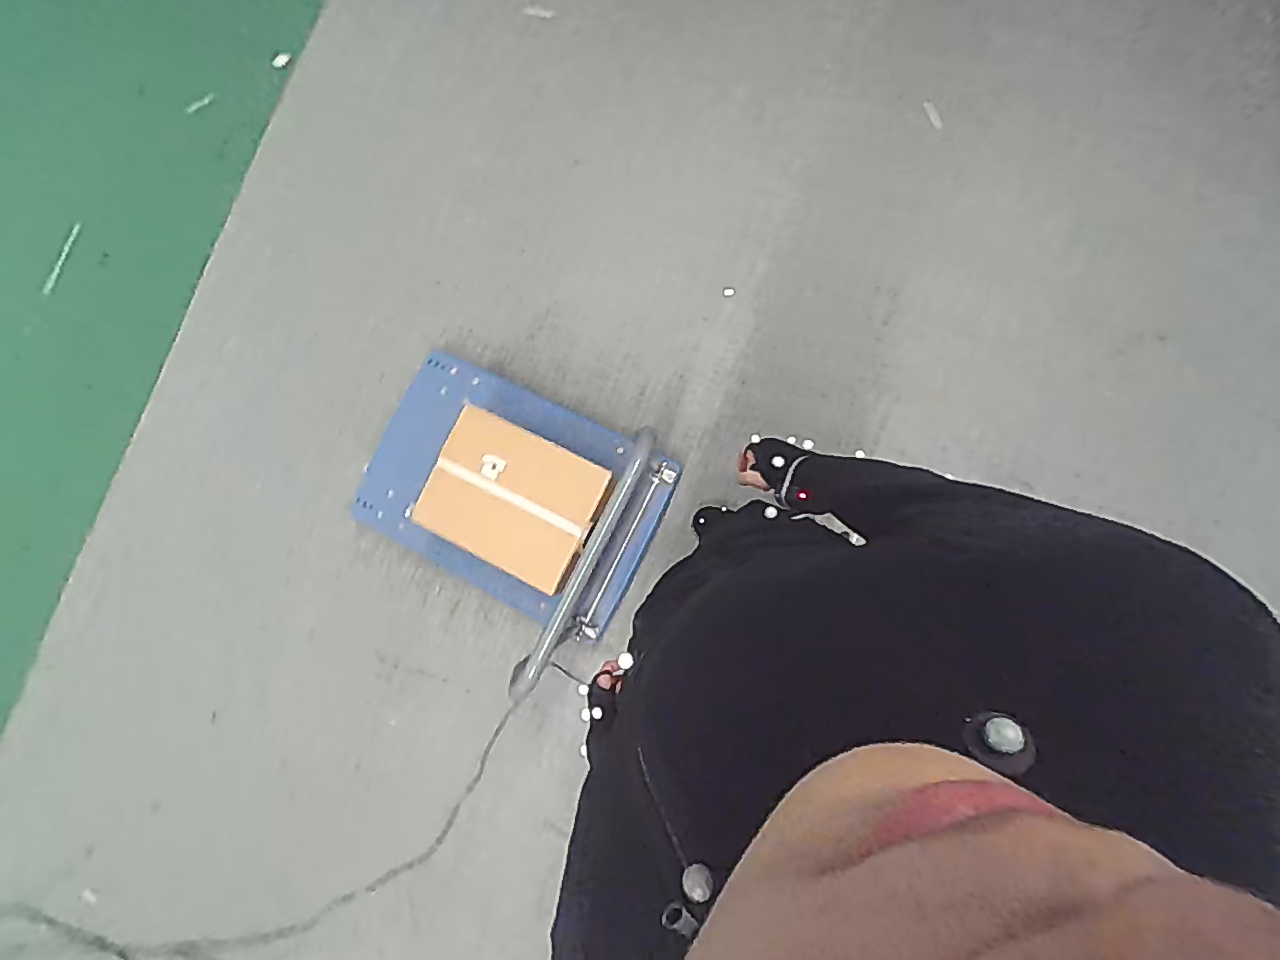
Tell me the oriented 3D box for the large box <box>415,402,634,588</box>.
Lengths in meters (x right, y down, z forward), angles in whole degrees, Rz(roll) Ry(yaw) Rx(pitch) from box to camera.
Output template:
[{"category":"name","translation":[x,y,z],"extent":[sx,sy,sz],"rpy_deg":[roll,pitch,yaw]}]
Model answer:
[{"category":"large box","translation":[-0.276,0.044,1.409],"extent":[0.408,0.320,0.320],"rpy_deg":[26,88,11]}]
